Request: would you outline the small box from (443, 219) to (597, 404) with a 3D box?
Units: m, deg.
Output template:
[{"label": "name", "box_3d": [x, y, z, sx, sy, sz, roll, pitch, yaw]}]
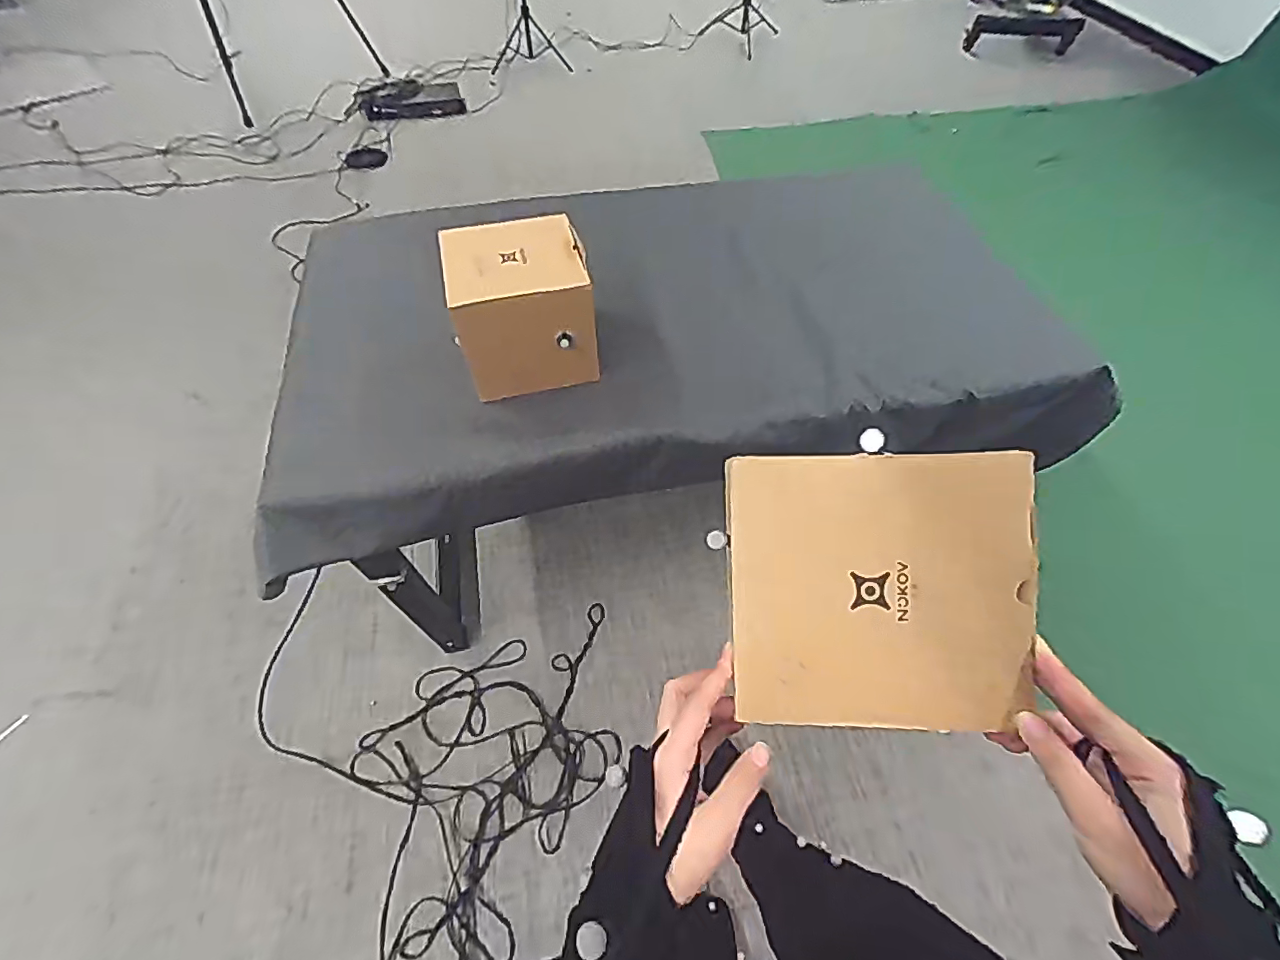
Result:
[{"label": "small box", "box_3d": [-0.160, -0.233, 0.760, 0.179, 0.176, 0.168, -13, 56, -8]}]

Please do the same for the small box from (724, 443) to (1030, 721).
[{"label": "small box", "box_3d": [0.152, 0.061, 0.408, 0.179, 0.176, 0.168, -1, 90, 7]}]
